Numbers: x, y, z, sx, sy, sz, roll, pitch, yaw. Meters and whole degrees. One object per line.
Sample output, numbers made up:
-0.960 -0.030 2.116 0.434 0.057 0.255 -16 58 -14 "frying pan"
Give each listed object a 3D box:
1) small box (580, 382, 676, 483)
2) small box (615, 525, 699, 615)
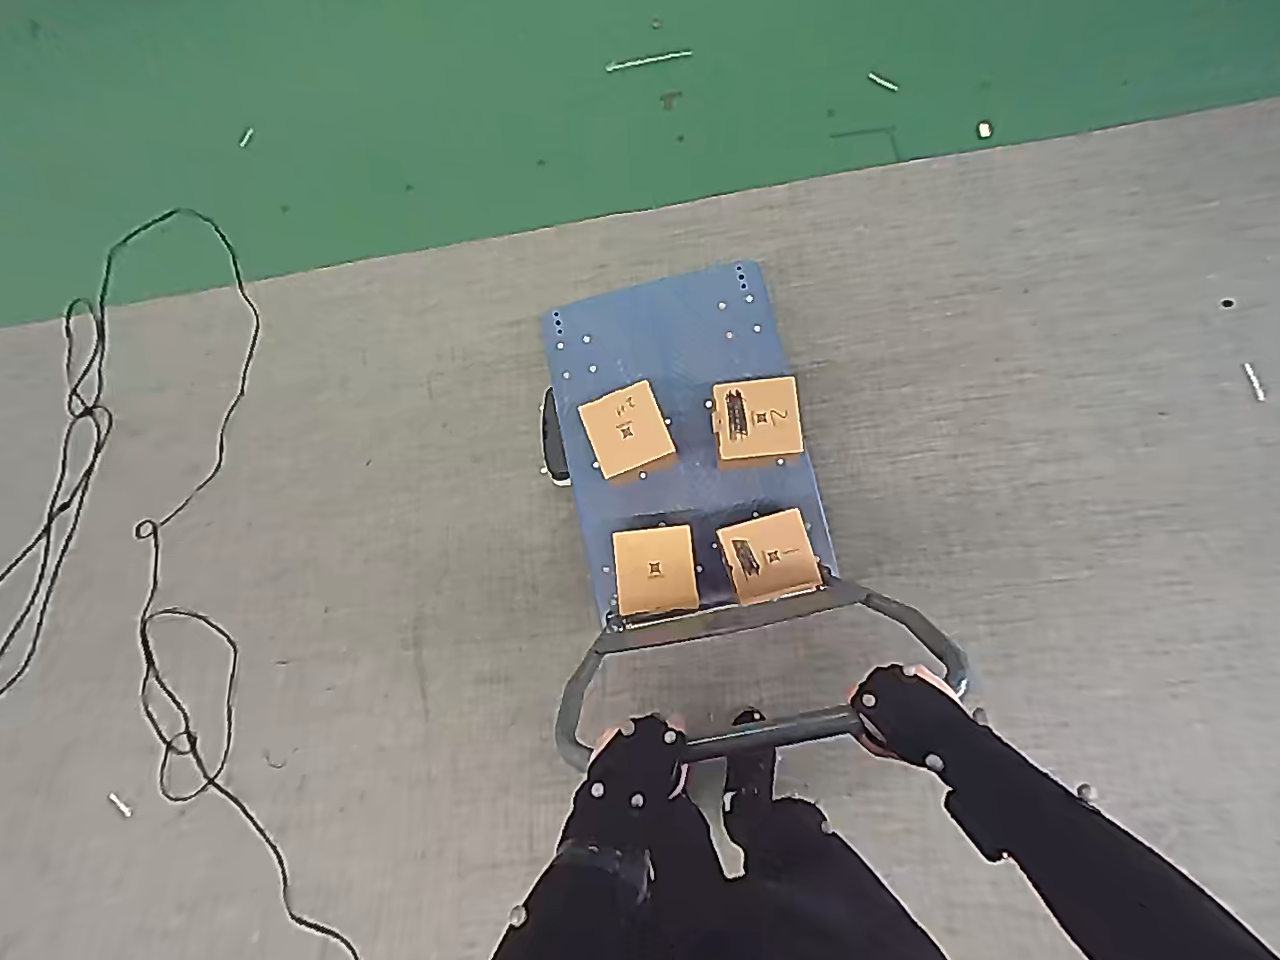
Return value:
-0.020 -0.099 1.249 0.168 0.176 0.179 -21 81 2 "small box"
0.039 0.198 1.208 0.168 0.176 0.179 -6 83 4 "small box"
